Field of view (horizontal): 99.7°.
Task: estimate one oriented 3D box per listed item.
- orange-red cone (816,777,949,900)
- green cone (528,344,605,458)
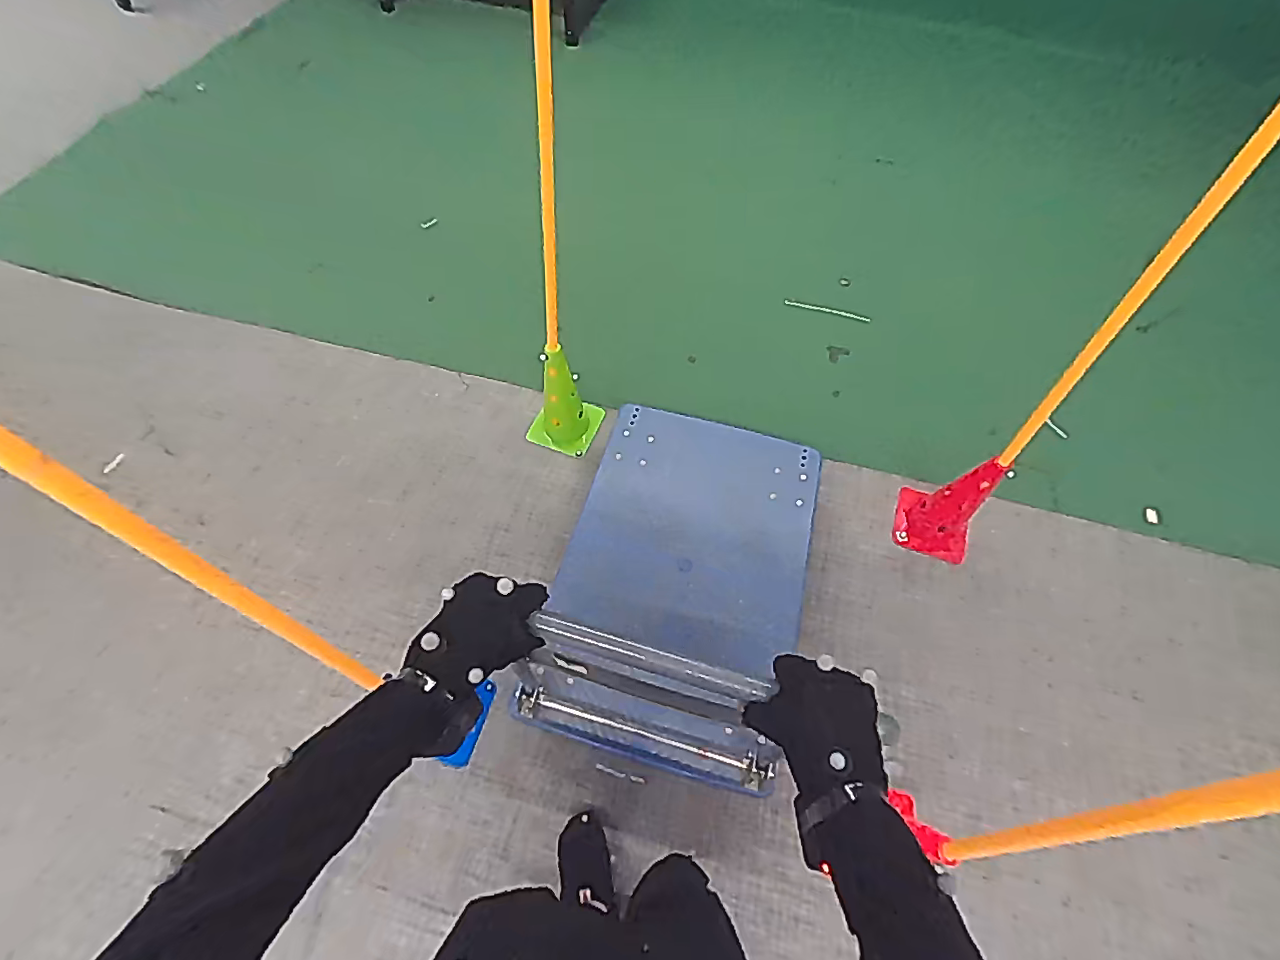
[{"bbox_3d":[0.499,0.708,1.059,0.199,0.360,0.198,13,60,8],"label":"orange-red cone"},{"bbox_3d":[-0.232,-0.257,1.583,0.202,0.368,0.200,18,61,10],"label":"green cone"}]
